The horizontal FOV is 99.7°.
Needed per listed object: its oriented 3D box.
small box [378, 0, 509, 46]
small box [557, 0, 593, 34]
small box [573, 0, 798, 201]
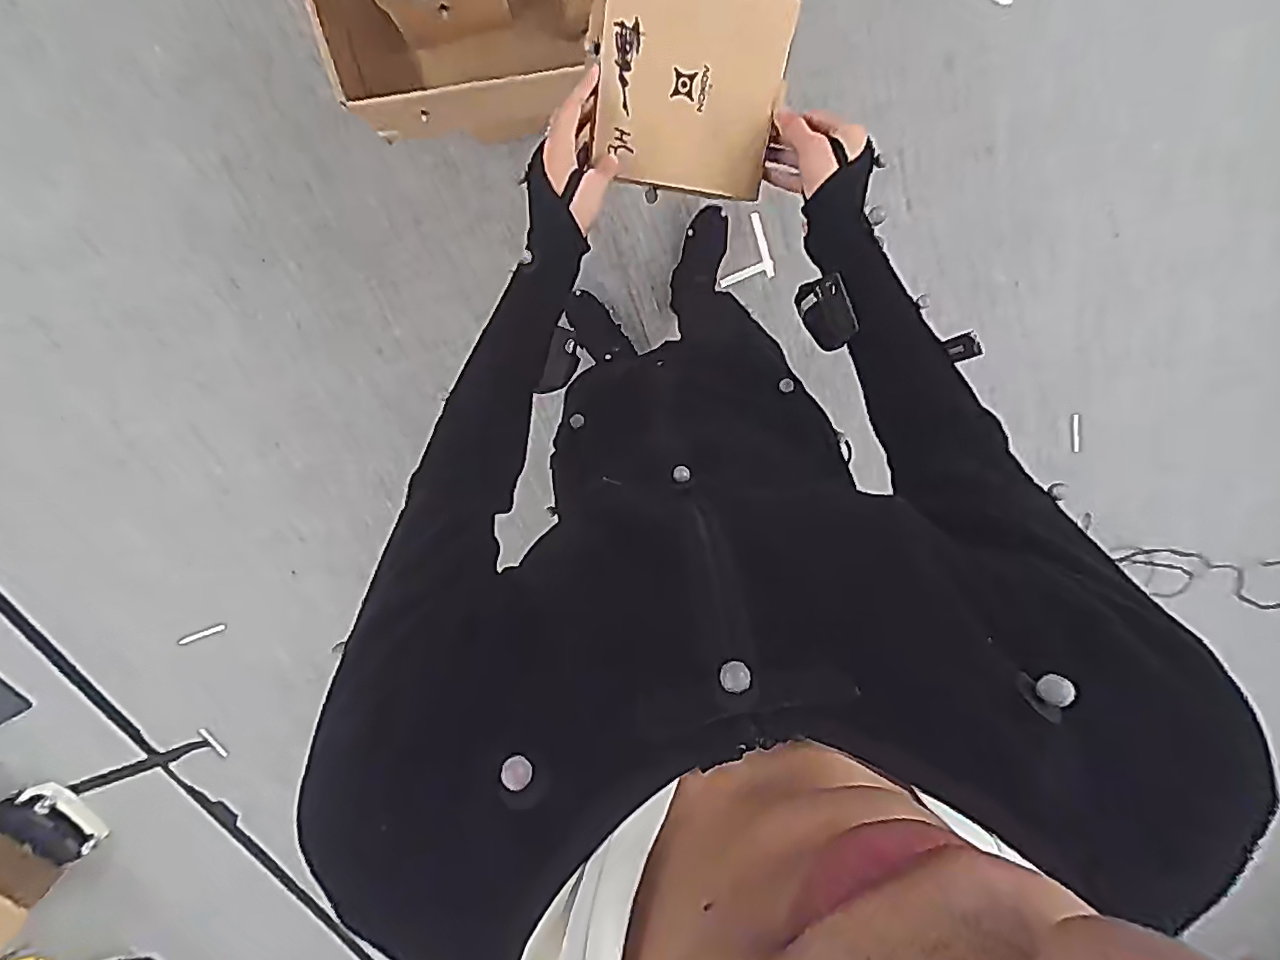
[{"bbox_3d":[-0.310,-0.791,0.809,0.179,0.176,0.168,-15,112,-2],"label":"small box"},{"bbox_3d":[-0.057,-0.826,0.829,0.168,0.176,0.179,-14,111,-2],"label":"small box"},{"bbox_3d":[0.030,-0.400,0.565,0.179,0.176,0.168,2,118,-14],"label":"small box"}]
